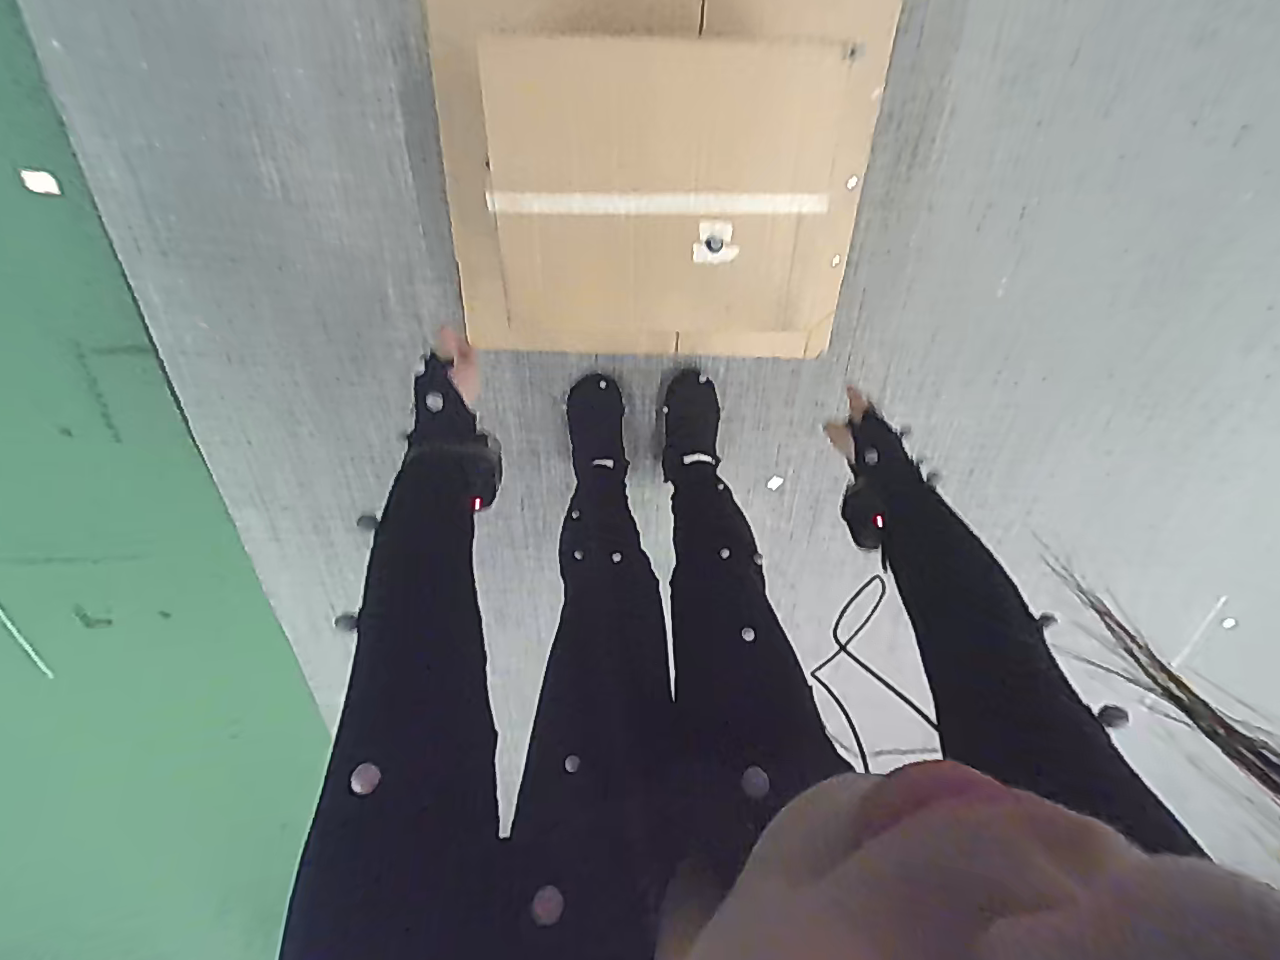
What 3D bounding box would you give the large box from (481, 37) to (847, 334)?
[{"bbox_3d":[0.019,-0.407,0.781,0.408,0.320,0.320,-2,120,-3],"label":"large box"}]
